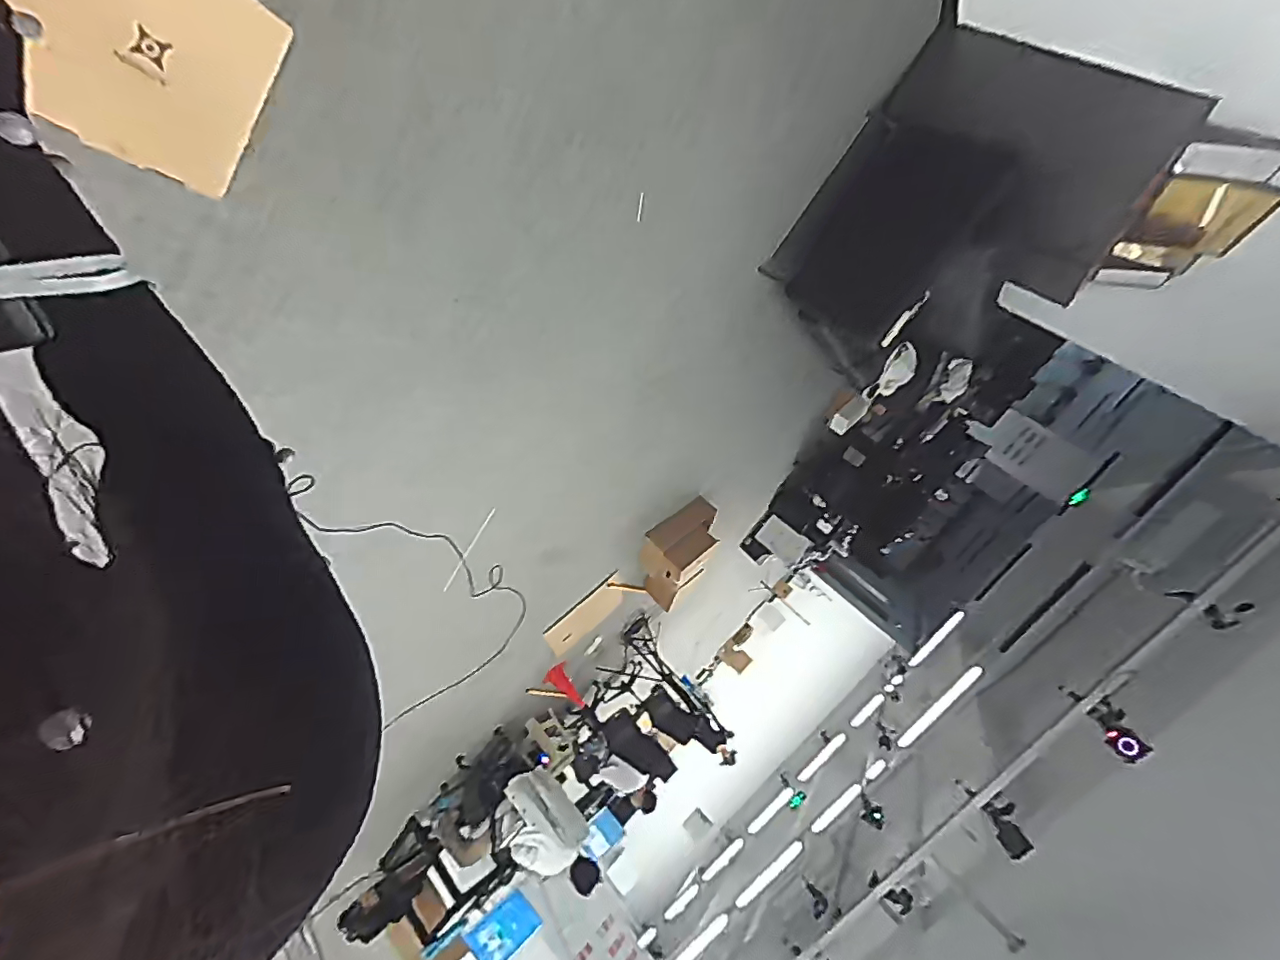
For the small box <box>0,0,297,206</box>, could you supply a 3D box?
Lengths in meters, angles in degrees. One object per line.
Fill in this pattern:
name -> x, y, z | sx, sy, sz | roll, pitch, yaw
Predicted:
small box -> -0.451, -0.391, 0.472 | 0.179, 0.176, 0.168 | -54, 157, 14
